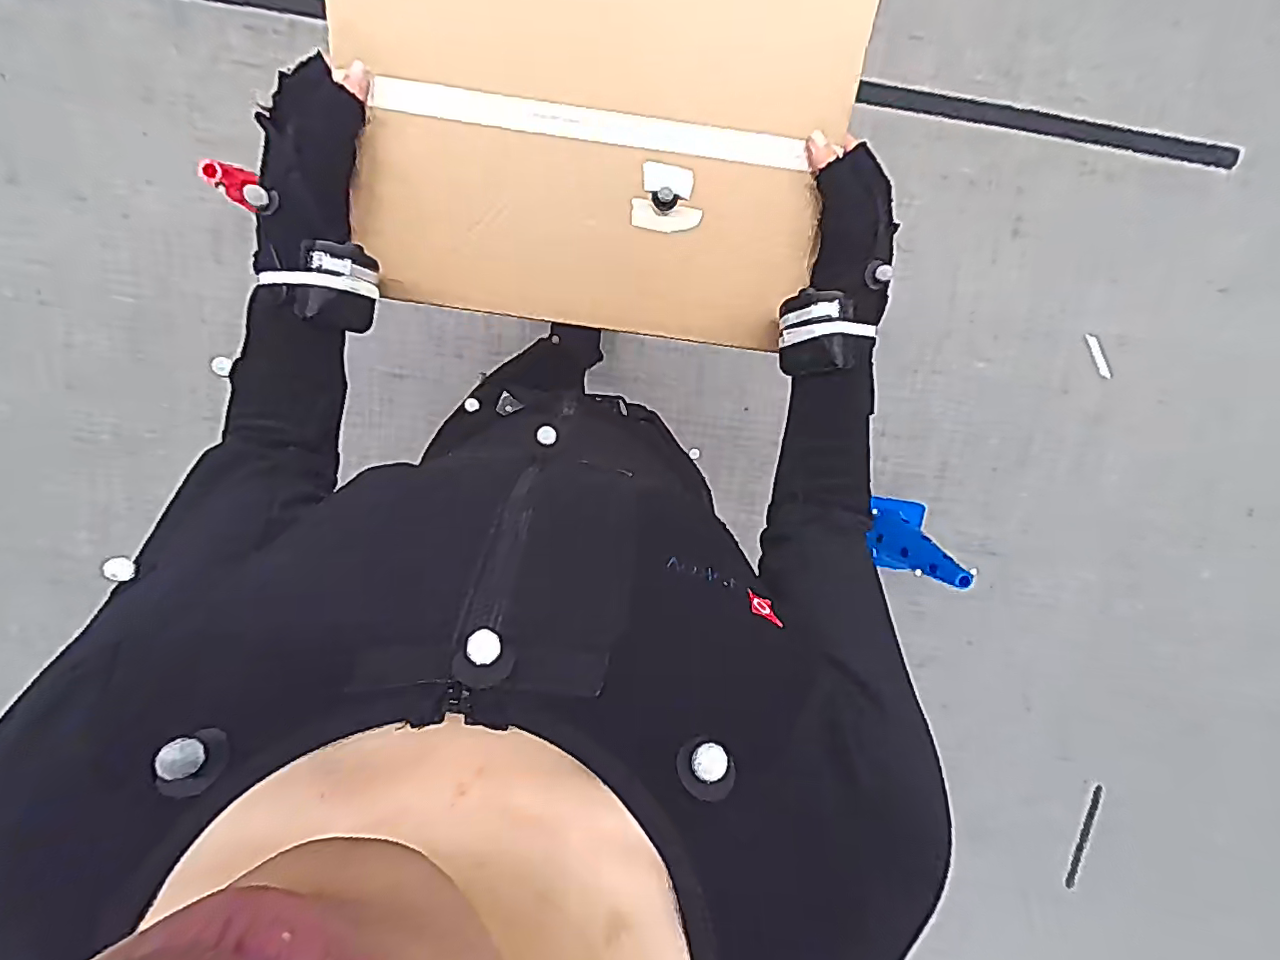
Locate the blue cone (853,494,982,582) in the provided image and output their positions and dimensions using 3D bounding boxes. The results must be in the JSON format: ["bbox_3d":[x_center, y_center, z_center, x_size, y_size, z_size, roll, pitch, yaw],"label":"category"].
[{"bbox_3d":[0.712,0.170,1.364,0.192,0.380,0.193,10,101,-6],"label":"blue cone"}]

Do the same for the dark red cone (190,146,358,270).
[{"bbox_3d":[-0.758,-0.580,1.104,0.201,0.394,0.202,13,101,-6],"label":"dark red cone"}]

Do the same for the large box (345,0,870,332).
[{"bbox_3d":[-0.036,-0.354,0.574,0.408,0.320,0.320,7,113,-3],"label":"large box"}]
